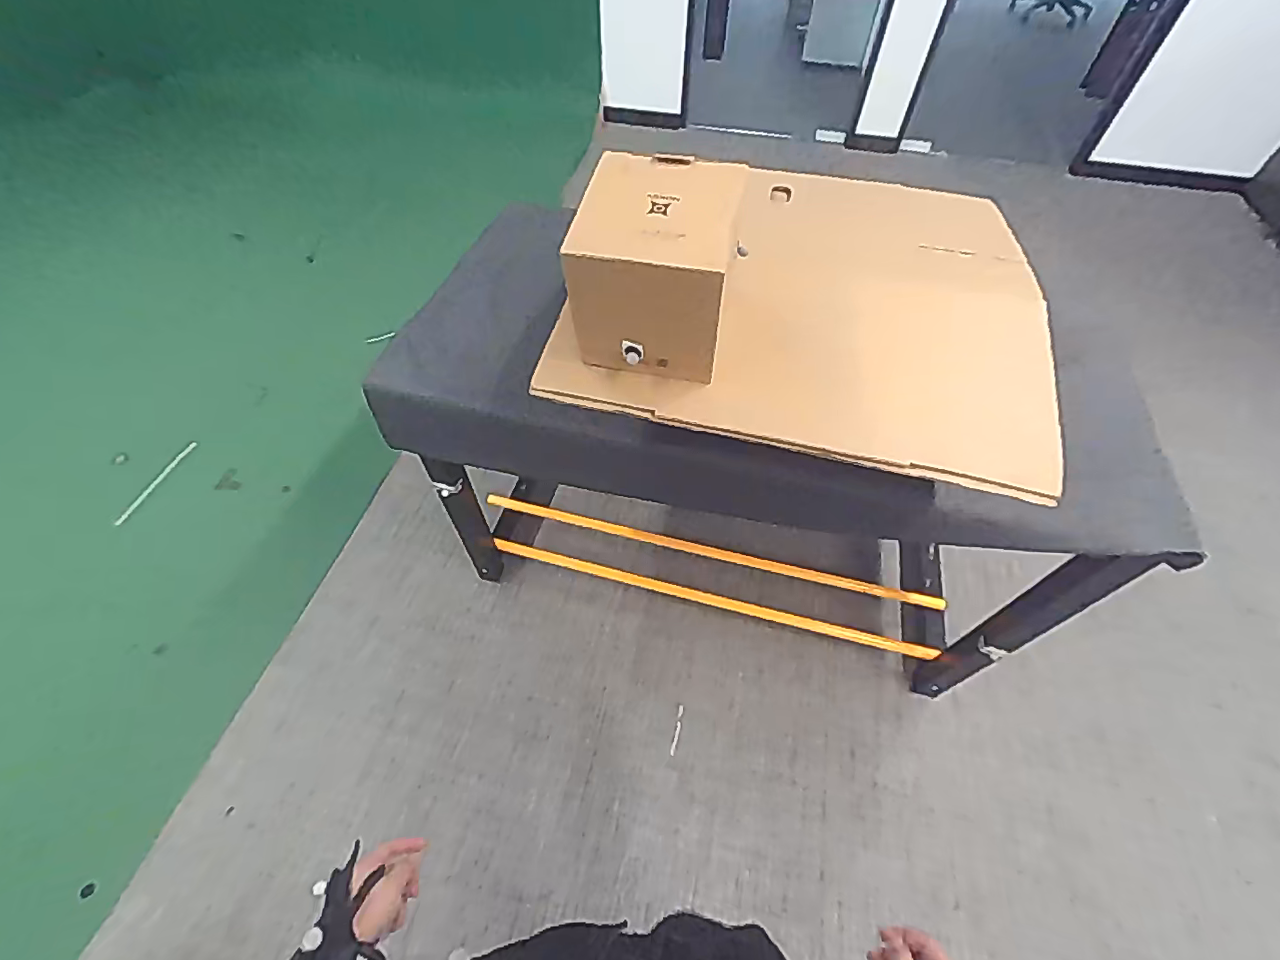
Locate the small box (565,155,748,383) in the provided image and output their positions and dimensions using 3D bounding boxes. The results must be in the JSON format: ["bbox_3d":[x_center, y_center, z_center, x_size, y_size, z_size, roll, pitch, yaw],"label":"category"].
[{"bbox_3d":[0.024,-0.241,0.632,0.168,0.176,0.179,9,63,8],"label":"small box"}]
